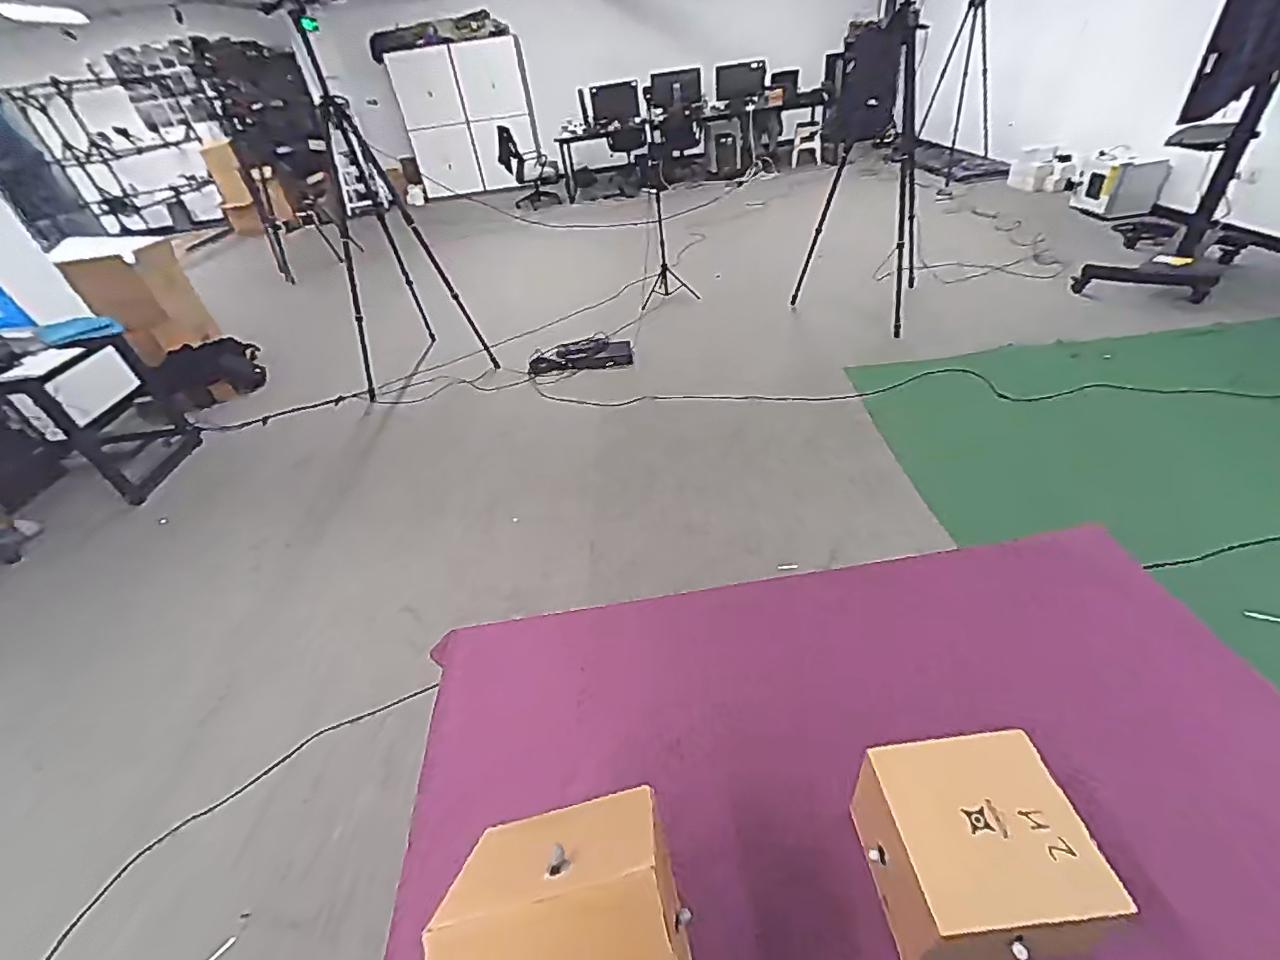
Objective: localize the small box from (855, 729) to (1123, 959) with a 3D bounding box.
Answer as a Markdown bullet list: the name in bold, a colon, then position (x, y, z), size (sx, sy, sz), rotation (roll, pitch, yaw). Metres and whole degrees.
- **small box**: position (0.349, 0.399, 0.590), size (0.179, 0.176, 0.168), rotation (-7, 39, 2)

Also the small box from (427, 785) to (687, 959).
- **small box**: position (-0.055, 0.391, 0.460), size (0.179, 0.176, 0.168), rotation (-13, 79, -4)
